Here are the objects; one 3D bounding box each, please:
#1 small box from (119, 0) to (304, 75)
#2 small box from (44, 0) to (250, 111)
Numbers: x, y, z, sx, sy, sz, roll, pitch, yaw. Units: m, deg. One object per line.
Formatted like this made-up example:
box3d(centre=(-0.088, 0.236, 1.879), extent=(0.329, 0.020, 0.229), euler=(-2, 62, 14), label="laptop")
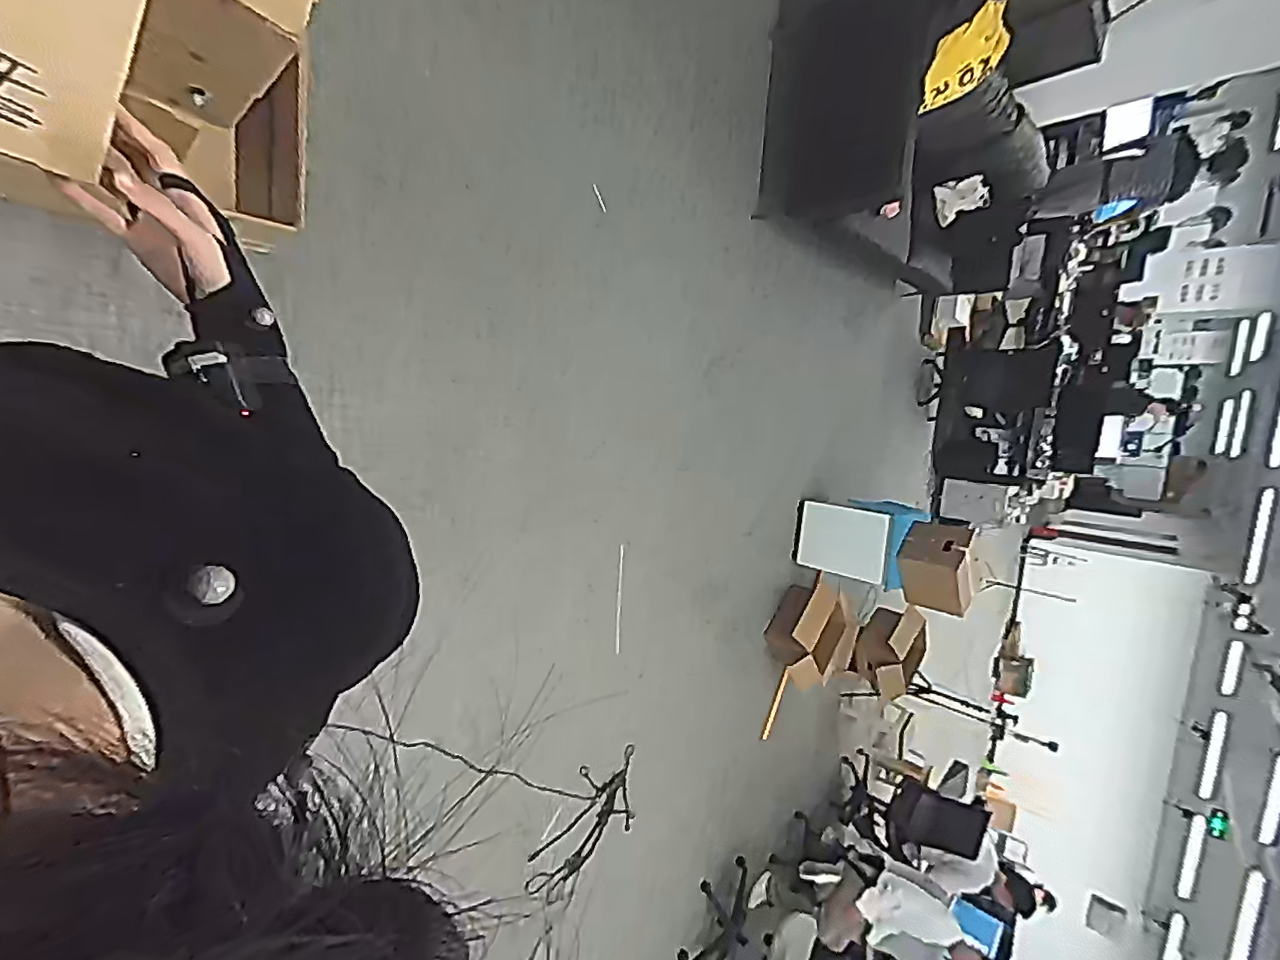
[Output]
box3d(centre=(-0.419, -0.534, 0.506), extent=(0.168, 0.176, 0.179), euler=(11, 90, -50), label="small box")
box3d(centre=(-0.542, -0.563, 0.609), extent=(0.168, 0.176, 0.179), euler=(6, 94, -49), label="small box")
